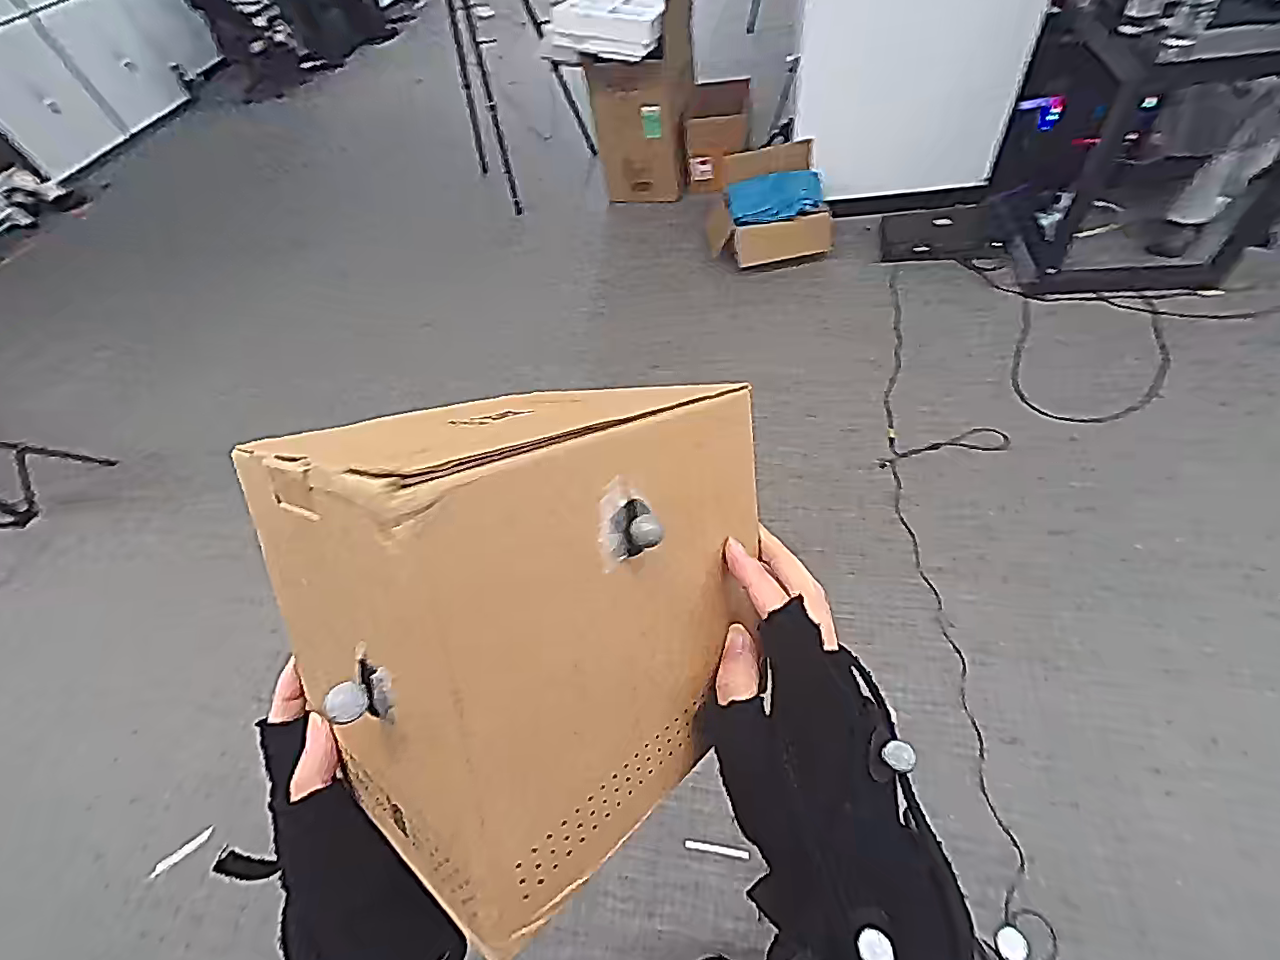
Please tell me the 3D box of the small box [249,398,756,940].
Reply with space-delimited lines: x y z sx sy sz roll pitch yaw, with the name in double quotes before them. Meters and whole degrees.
"small box" -0.052 0.057 0.270 0.168 0.176 0.179 6 18 41
